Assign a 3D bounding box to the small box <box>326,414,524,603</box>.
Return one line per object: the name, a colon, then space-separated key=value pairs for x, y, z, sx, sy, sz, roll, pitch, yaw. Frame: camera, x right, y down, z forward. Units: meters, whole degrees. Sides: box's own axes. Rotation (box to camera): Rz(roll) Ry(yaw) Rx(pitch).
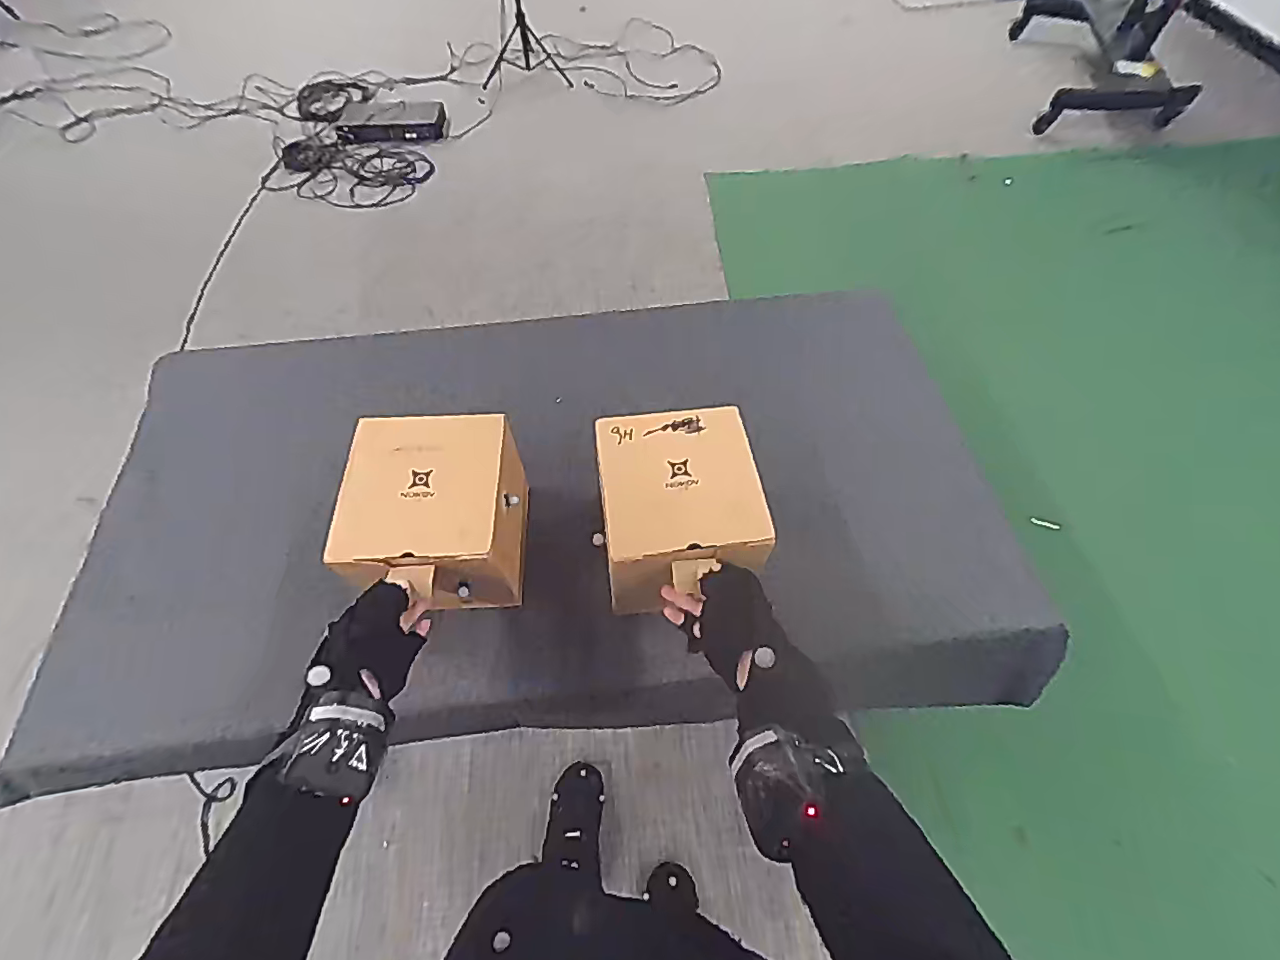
small box: x=-0.236 y=0.042 z=0.646 sx=0.168 sy=0.176 sz=0.179 roll=-2 pitch=59 yaw=-3
